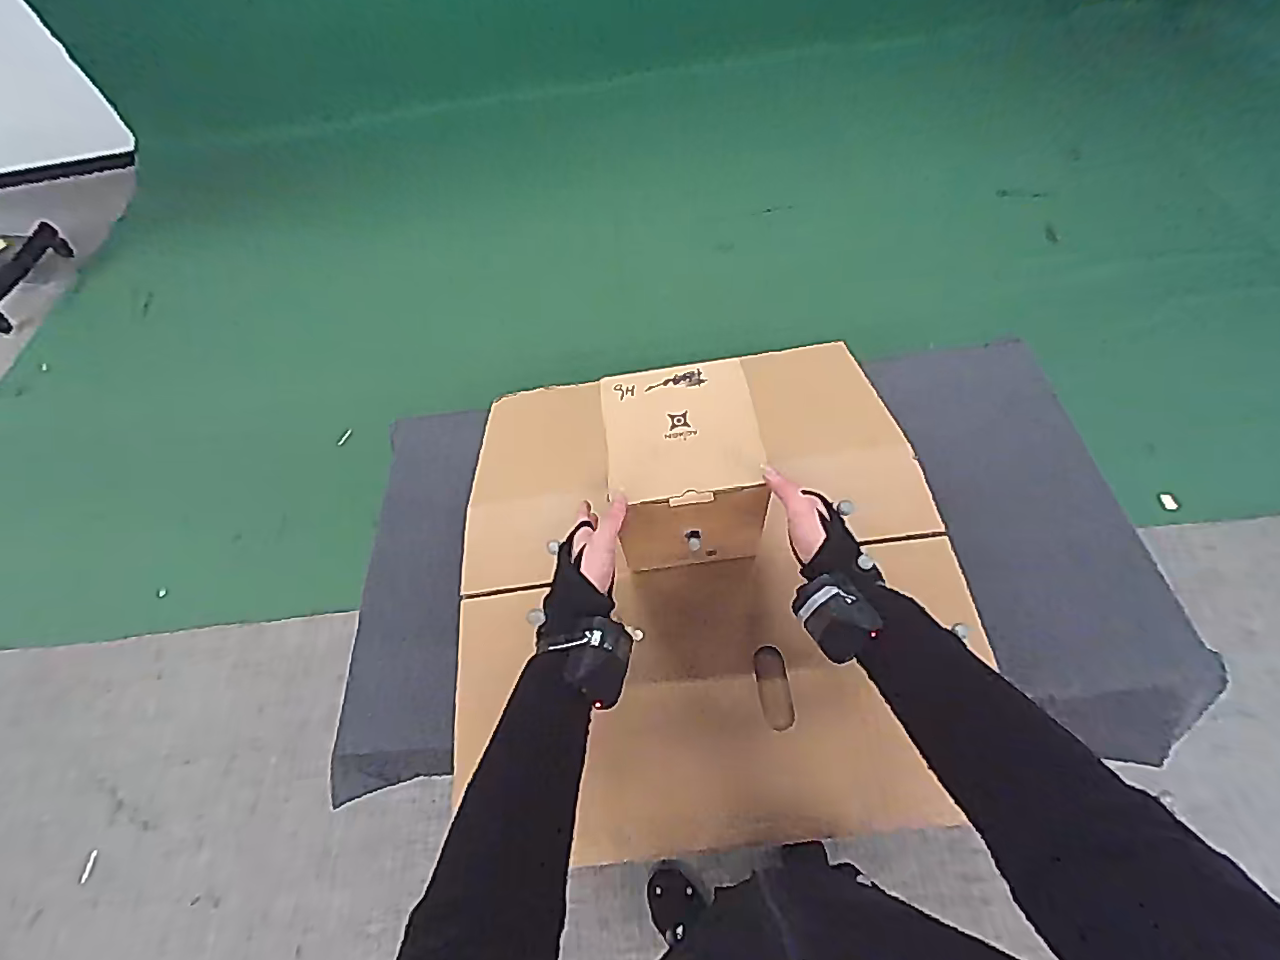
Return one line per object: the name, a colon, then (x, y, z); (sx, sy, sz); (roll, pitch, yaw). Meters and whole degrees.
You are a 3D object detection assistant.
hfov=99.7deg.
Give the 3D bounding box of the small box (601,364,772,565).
small box: (0.055, -0.008, 0.657); (0.168, 0.176, 0.179); (-10, 58, 2)
